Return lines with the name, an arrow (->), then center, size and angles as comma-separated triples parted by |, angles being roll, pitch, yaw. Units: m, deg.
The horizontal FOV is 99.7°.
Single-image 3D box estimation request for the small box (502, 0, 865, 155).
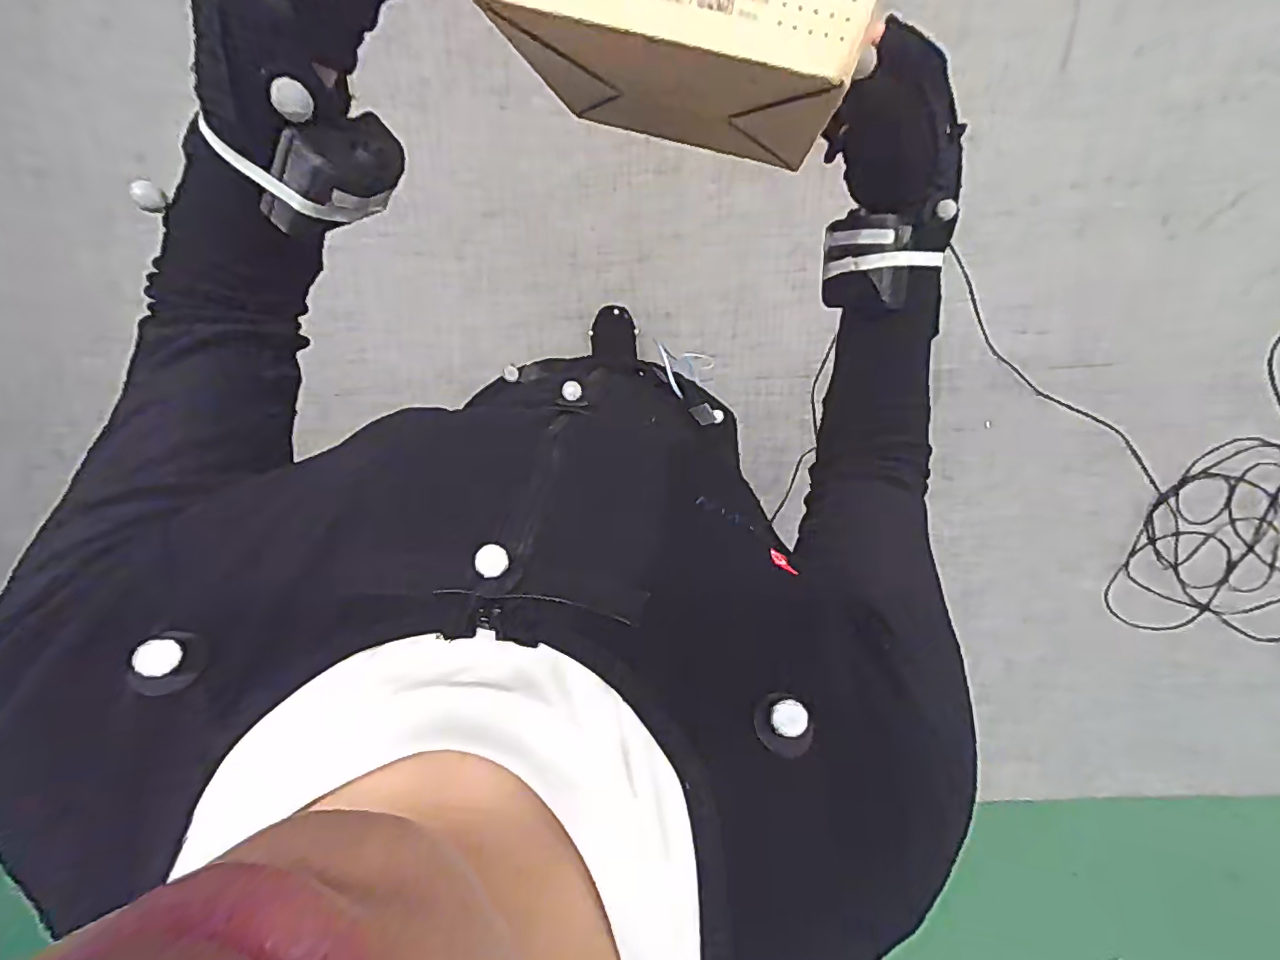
small box -> 0.039, -0.291, 0.282 | 0.168, 0.179, 0.176 | 16, 110, 4
